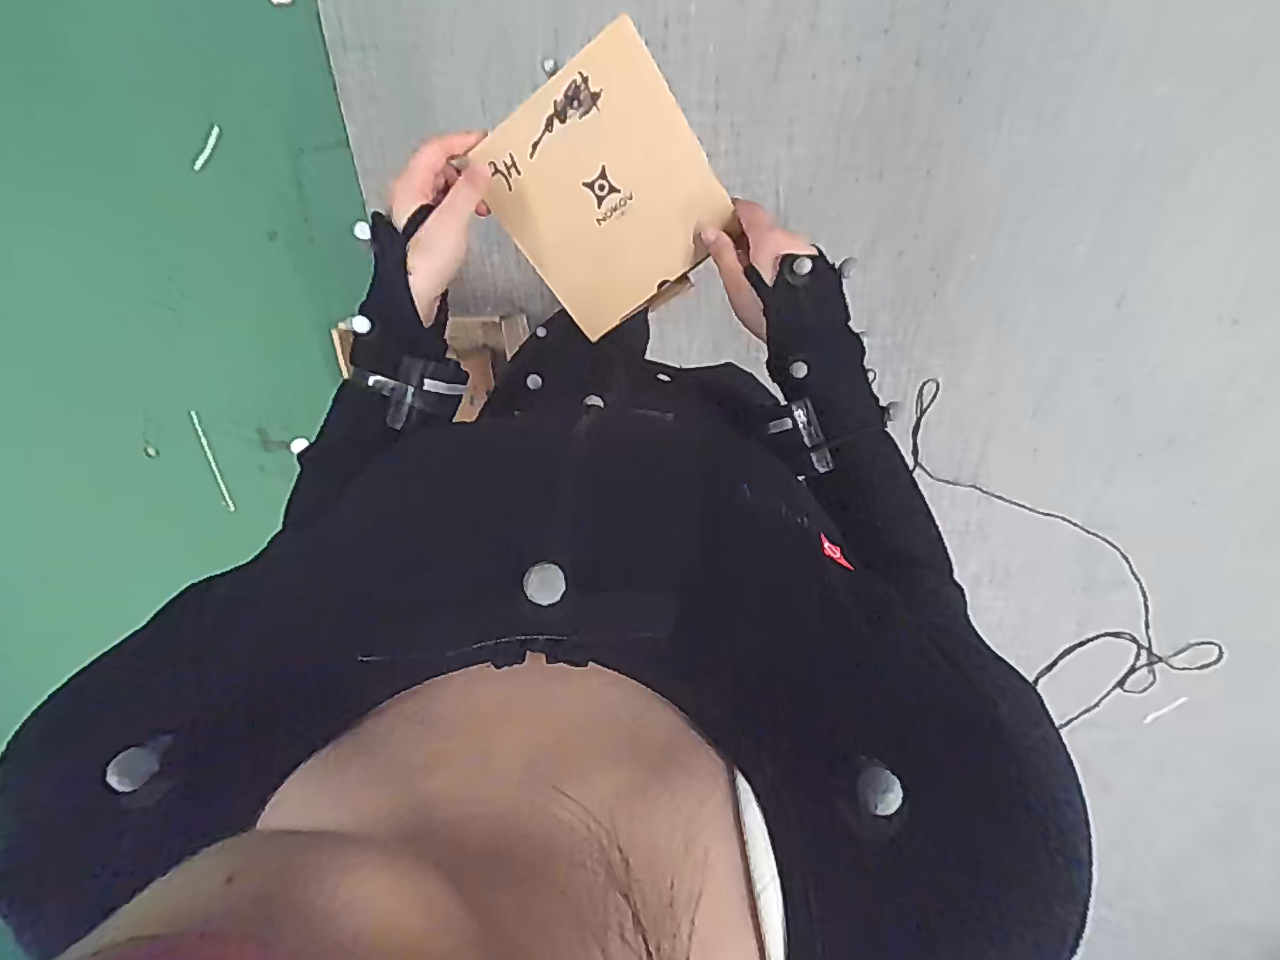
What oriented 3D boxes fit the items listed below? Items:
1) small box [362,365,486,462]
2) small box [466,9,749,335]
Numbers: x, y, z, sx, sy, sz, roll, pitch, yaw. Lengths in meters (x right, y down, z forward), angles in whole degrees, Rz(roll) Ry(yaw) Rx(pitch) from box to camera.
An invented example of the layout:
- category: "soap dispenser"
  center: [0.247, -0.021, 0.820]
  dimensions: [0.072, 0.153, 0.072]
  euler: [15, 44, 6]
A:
- category: "small box"
  center: [-0.449, -0.145, 1.149]
  dimensions: [0.179, 0.176, 0.168]
  euler: [-2, 114, 3]
- category: "small box"
  center: [-0.026, -0.272, 0.500]
  dimensions: [0.168, 0.176, 0.179]
  euler: [-32, 118, 14]
